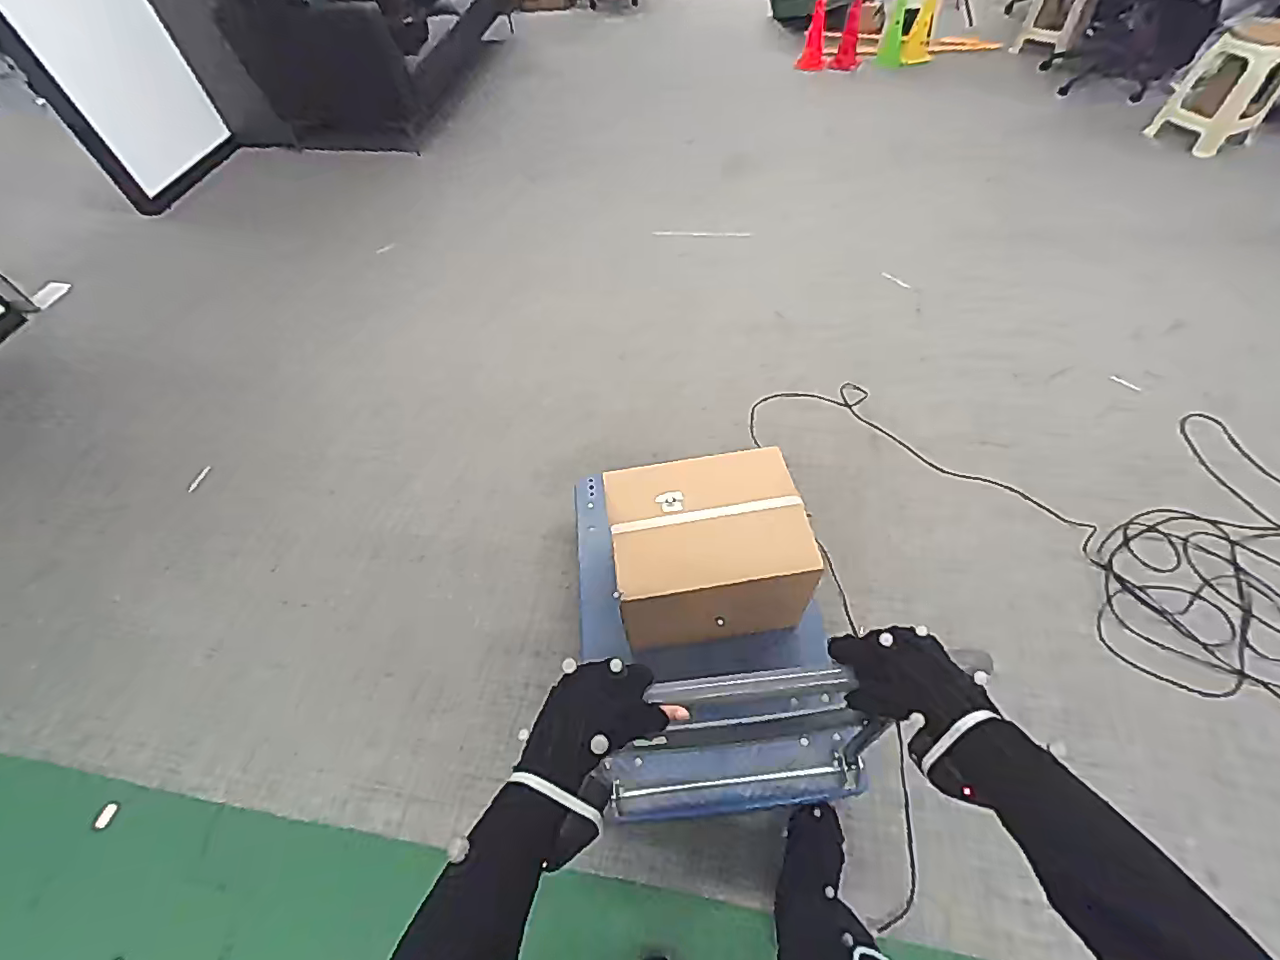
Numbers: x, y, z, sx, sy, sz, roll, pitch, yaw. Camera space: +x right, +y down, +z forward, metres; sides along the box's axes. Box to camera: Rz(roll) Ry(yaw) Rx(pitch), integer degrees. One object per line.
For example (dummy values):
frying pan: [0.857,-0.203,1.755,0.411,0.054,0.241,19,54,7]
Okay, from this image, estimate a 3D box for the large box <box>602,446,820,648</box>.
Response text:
large box: [0.145,0.164,1.251,0.408,0.320,0.320,-10,54,-2]
